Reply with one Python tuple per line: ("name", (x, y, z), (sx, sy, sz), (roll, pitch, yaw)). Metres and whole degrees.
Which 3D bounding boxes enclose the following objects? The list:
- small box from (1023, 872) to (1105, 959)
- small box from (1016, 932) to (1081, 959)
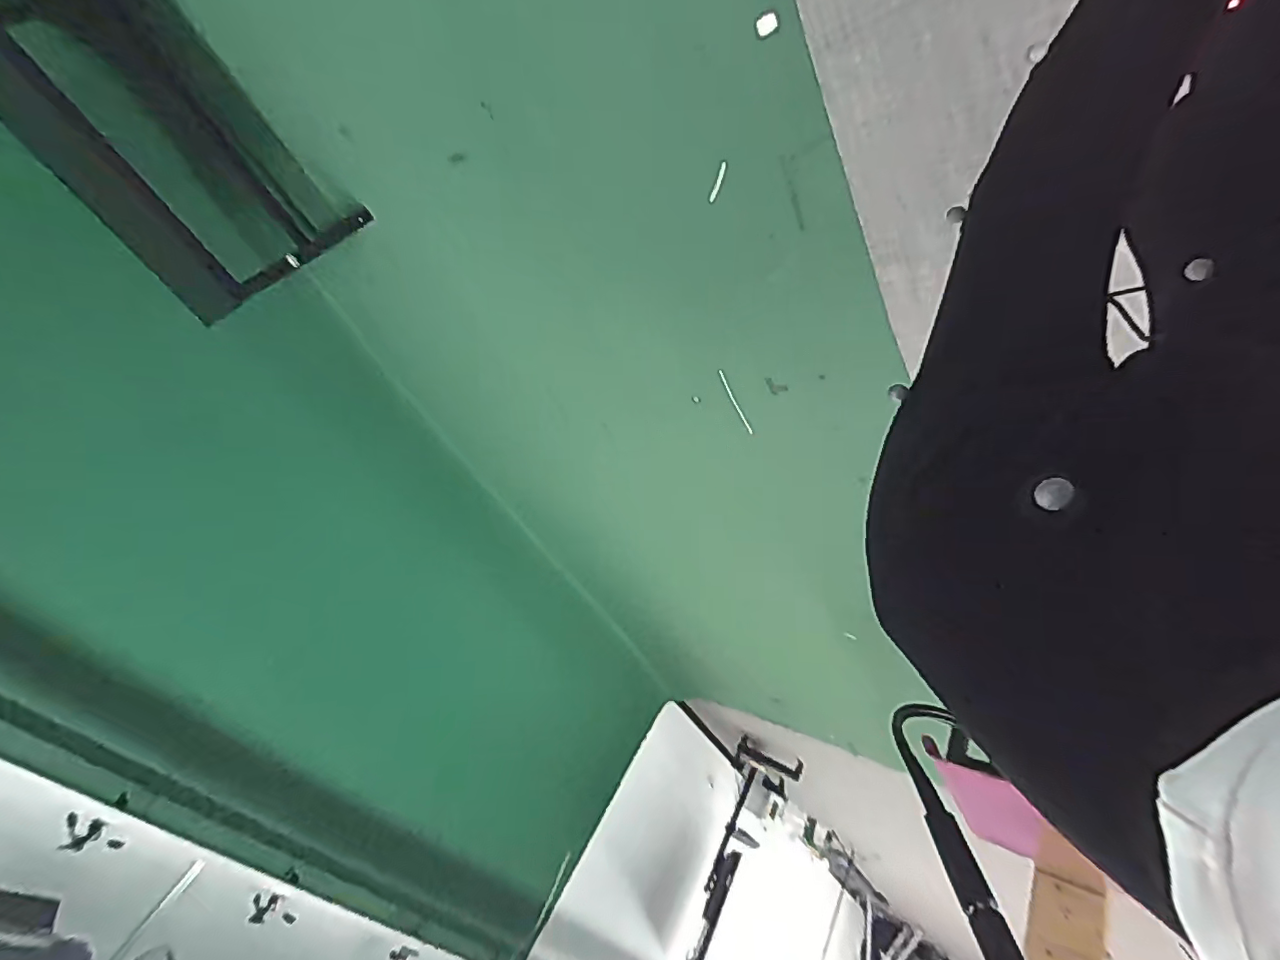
("small box", (1.213, 1.266, 1.542), (0.168, 0.176, 0.179), (-1, 134, 45))
("small box", (1.129, 1.380, 1.460), (0.168, 0.176, 0.179), (-4, 132, 45))
